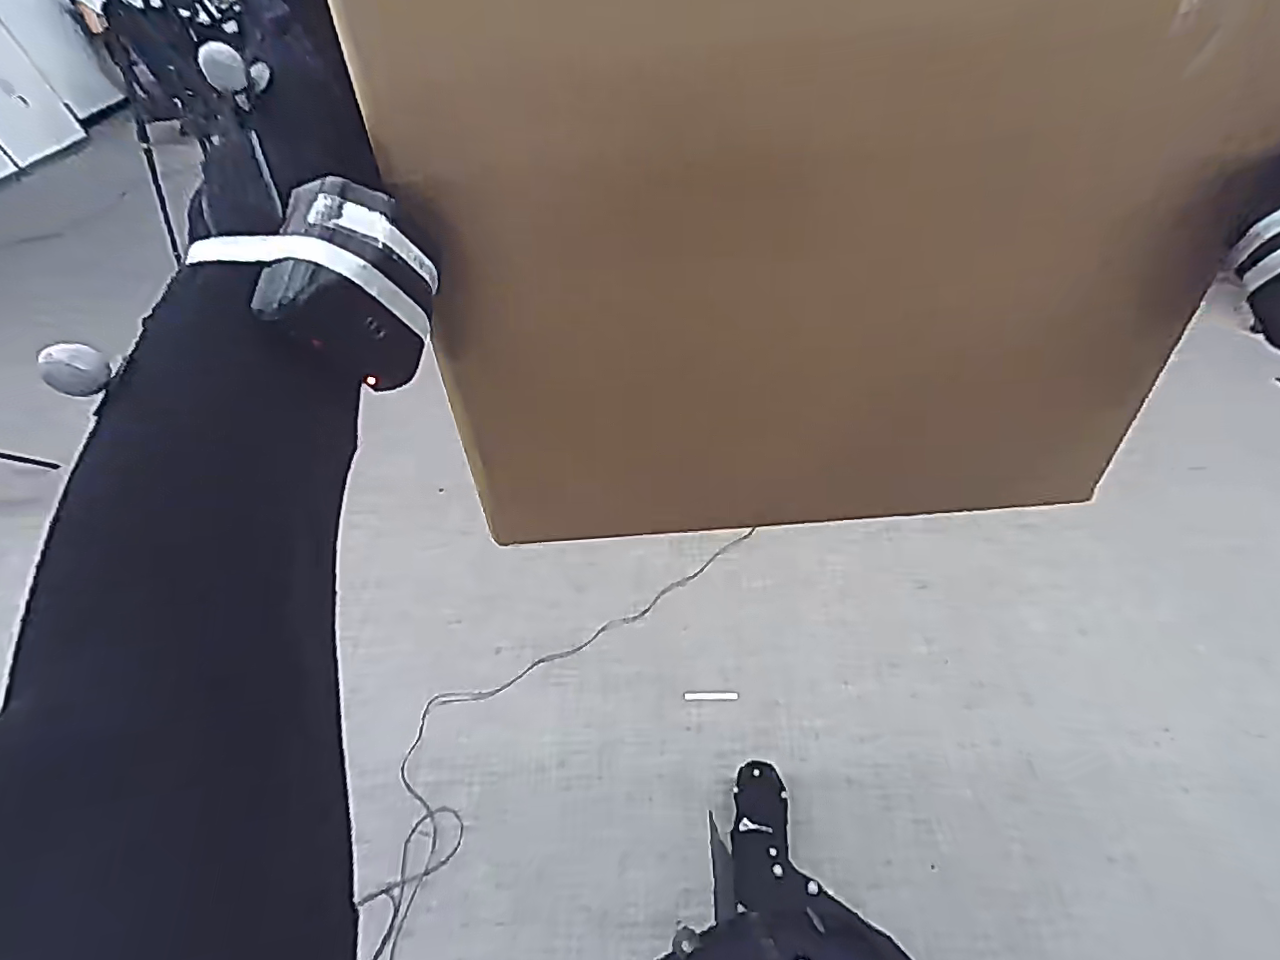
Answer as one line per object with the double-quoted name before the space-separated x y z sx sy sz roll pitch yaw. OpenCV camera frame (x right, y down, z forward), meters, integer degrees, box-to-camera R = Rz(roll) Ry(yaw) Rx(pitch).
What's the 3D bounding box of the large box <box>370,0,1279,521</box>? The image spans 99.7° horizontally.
"large box" 0.084 -0.191 0.402 0.408 0.320 0.320 -4 37 -1
